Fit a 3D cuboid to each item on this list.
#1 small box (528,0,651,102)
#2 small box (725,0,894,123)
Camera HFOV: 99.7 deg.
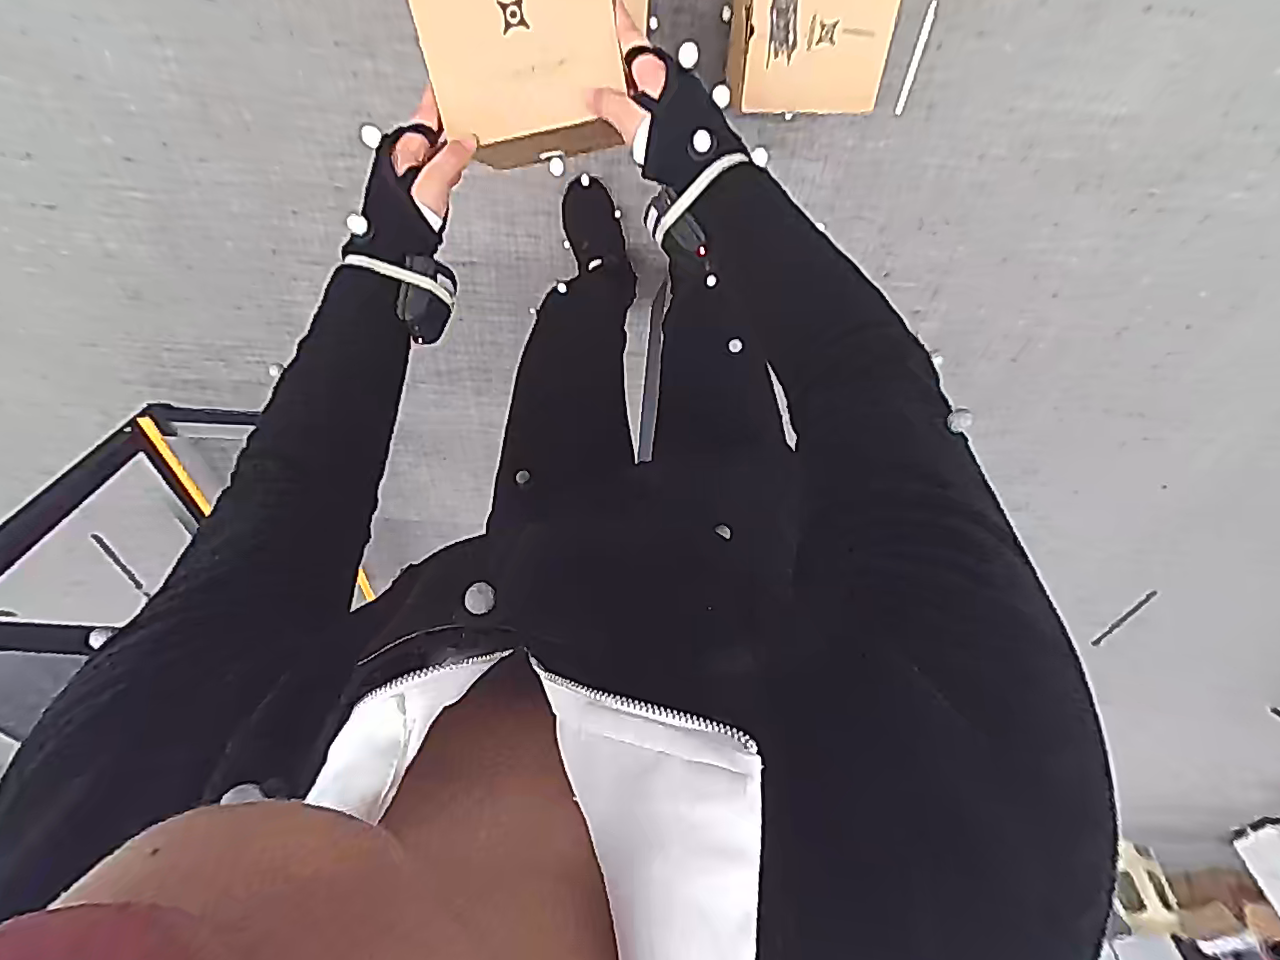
[{"bbox_3d":[-0.074,-0.711,0.842,0.179,0.176,0.168,5,132,-2],"label":"small box"},{"bbox_3d":[0.214,-0.590,0.723,0.179,0.176,0.168,1,132,0],"label":"small box"}]
